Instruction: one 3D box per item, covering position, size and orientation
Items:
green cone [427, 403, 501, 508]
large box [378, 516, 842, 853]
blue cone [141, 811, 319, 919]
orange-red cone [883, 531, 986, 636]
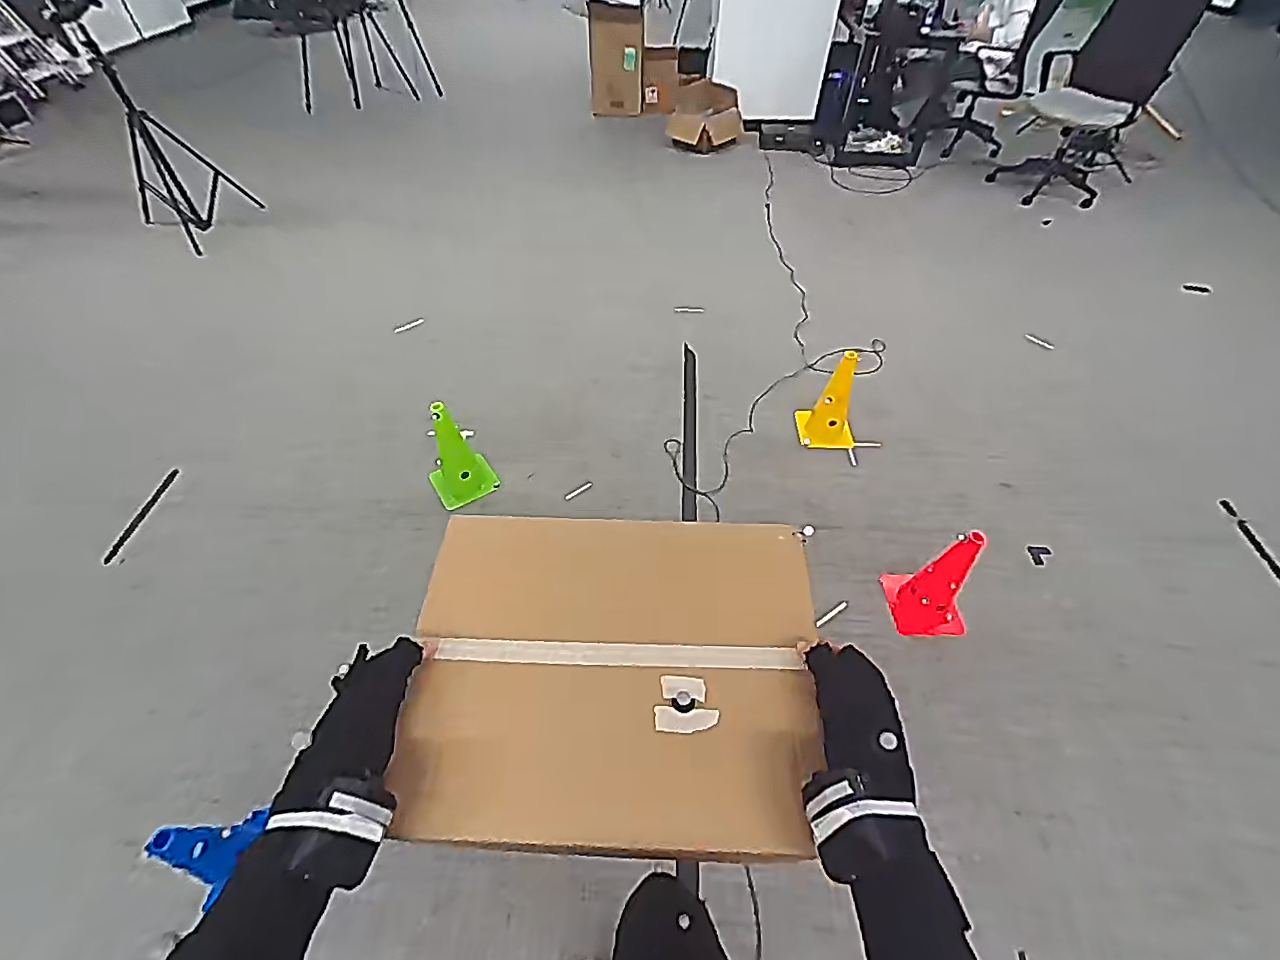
[{"bbox_3d":[-0.621,-0.113,1.785,0.202,0.368,0.200,-29,55,-20],"label":"green cone"},{"bbox_3d":[-0.025,0.259,0.662,0.408,0.320,0.320,2,54,1],"label":"large box"},{"bbox_3d":[-0.834,0.744,1.077,0.192,0.380,0.193,4,49,5],"label":"blue cone"},{"bbox_3d":[0.840,0.255,1.478,0.198,0.360,0.199,1,48,0],"label":"orange-red cone"}]
